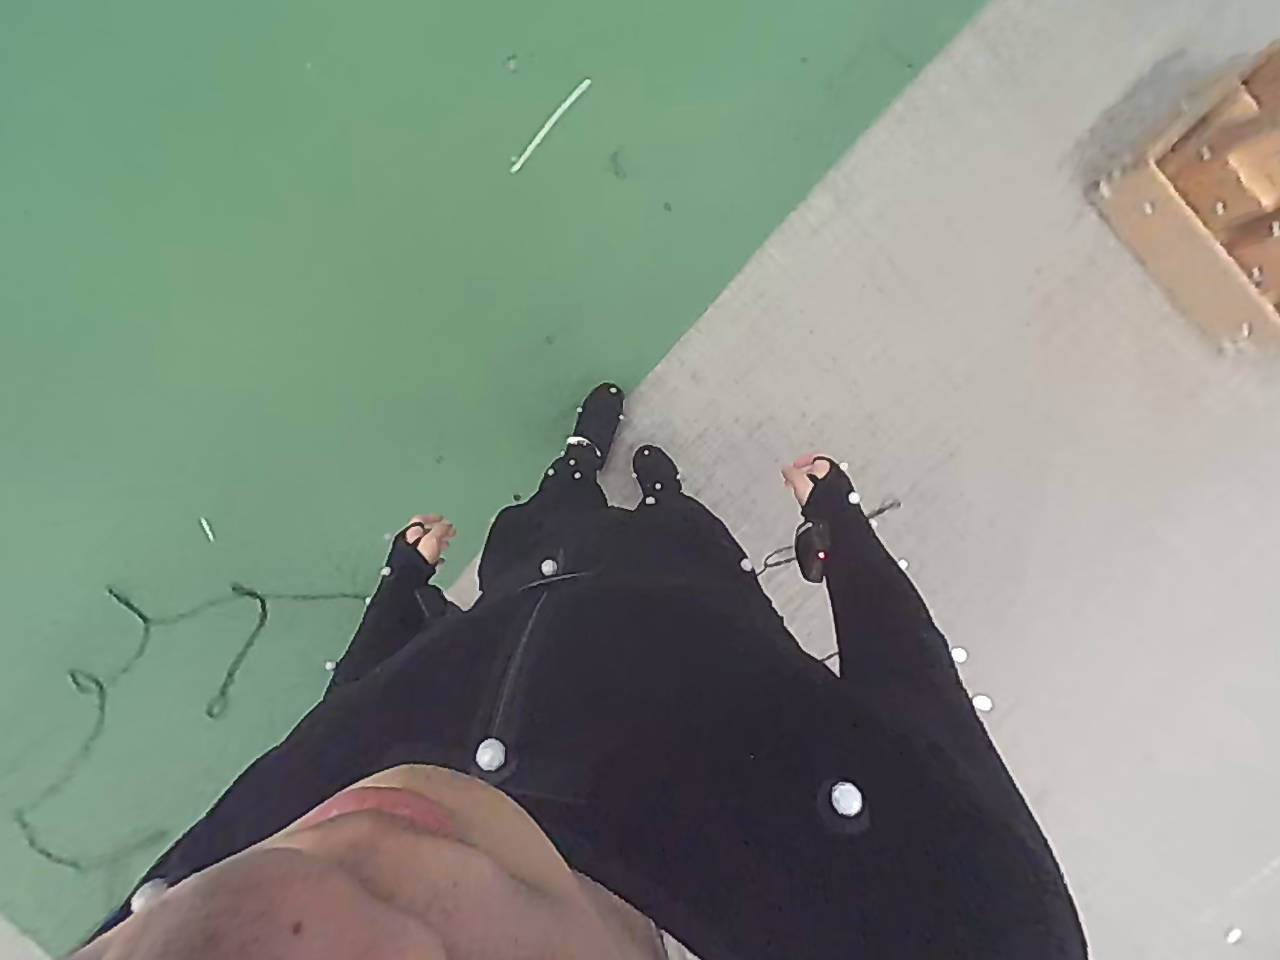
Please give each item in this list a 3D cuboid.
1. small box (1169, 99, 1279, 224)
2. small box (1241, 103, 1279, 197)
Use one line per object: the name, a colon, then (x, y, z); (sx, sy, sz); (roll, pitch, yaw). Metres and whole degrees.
small box: (1.442, -0.754, 1.297); (0.168, 0.176, 0.179); (42, 98, -6)
small box: (1.445, -0.738, 1.135); (0.168, 0.176, 0.179); (41, 98, -6)
